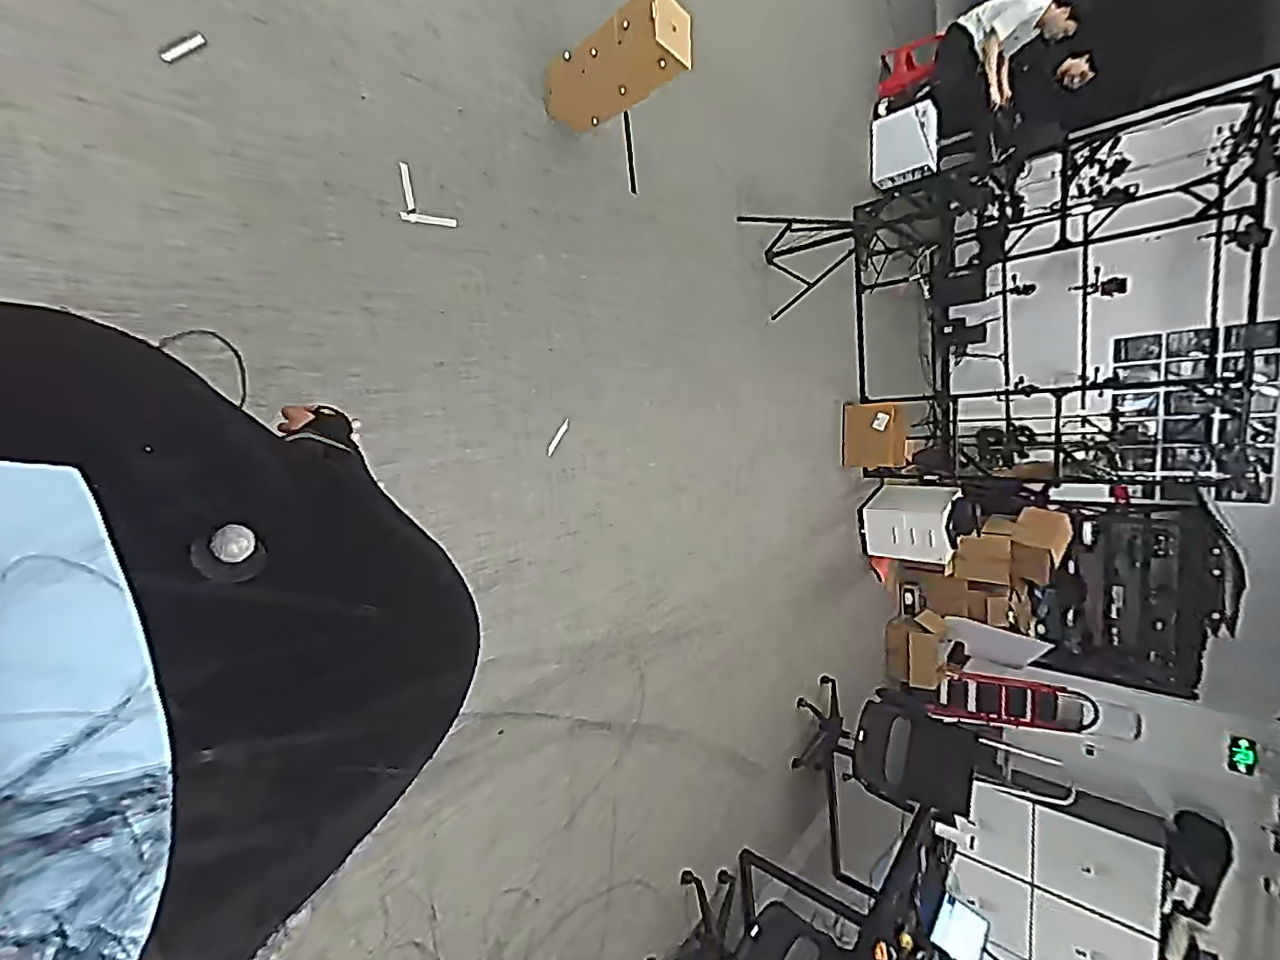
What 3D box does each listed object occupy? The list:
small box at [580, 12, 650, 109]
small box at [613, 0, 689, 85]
[{"bbox_3d":[-0.086,-1.372,1.786,0.179,0.176,0.168,-4,95,-49],"label":"small box"},{"bbox_3d":[0.036,-1.373,1.679,0.179,0.176,0.168,-5,95,-48],"label":"small box"}]
